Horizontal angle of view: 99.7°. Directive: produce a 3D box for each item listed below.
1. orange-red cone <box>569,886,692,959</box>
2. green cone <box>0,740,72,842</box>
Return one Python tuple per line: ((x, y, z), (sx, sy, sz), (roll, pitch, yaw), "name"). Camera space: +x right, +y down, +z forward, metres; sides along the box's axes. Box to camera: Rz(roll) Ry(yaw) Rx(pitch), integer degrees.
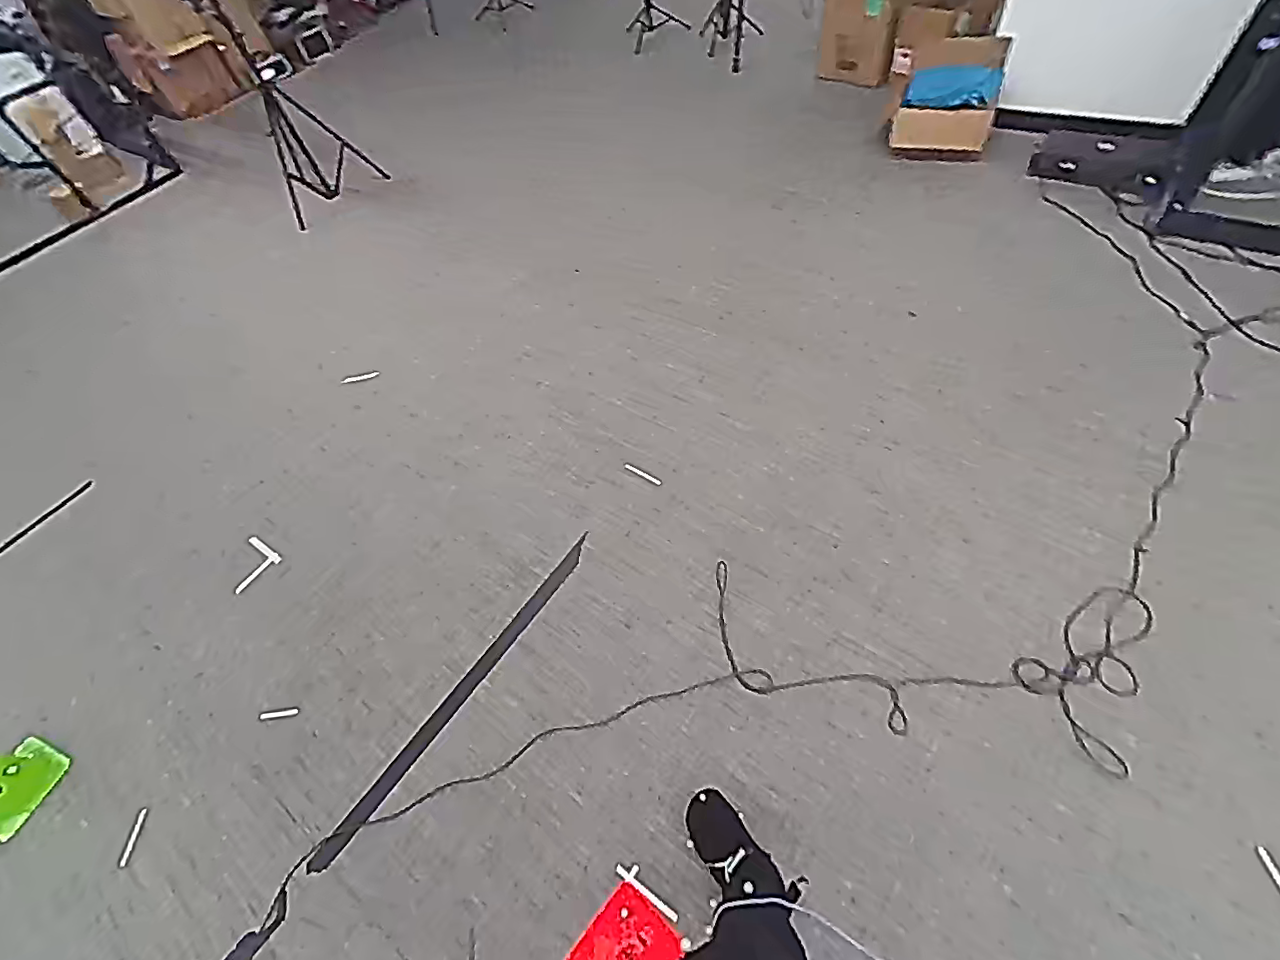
((-0.047, 0.859, 0.922), (0.198, 0.360, 0.199), (35, 69, 30), "orange-red cone")
((-1.685, 0.729, 1.314), (0.200, 0.368, 0.202), (13, 57, 18), "green cone")
